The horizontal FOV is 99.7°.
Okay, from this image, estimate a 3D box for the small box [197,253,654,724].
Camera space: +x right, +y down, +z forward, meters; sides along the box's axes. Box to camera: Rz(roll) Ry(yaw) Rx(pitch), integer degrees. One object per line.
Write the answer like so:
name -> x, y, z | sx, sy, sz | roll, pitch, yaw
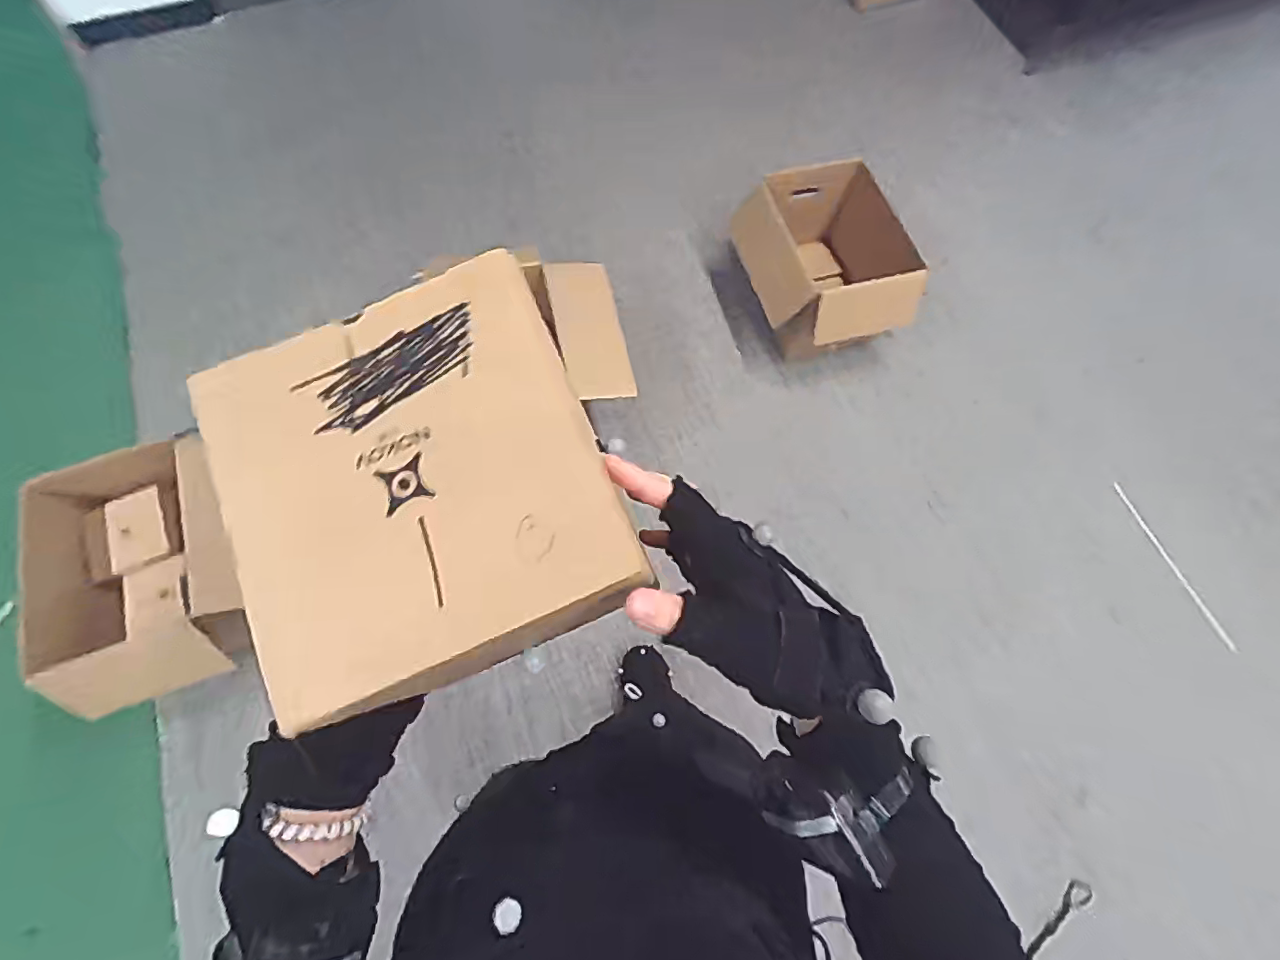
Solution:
small box -> -0.102, 0.013, 0.324 | 0.168, 0.176, 0.179 | -26, 77, -1
